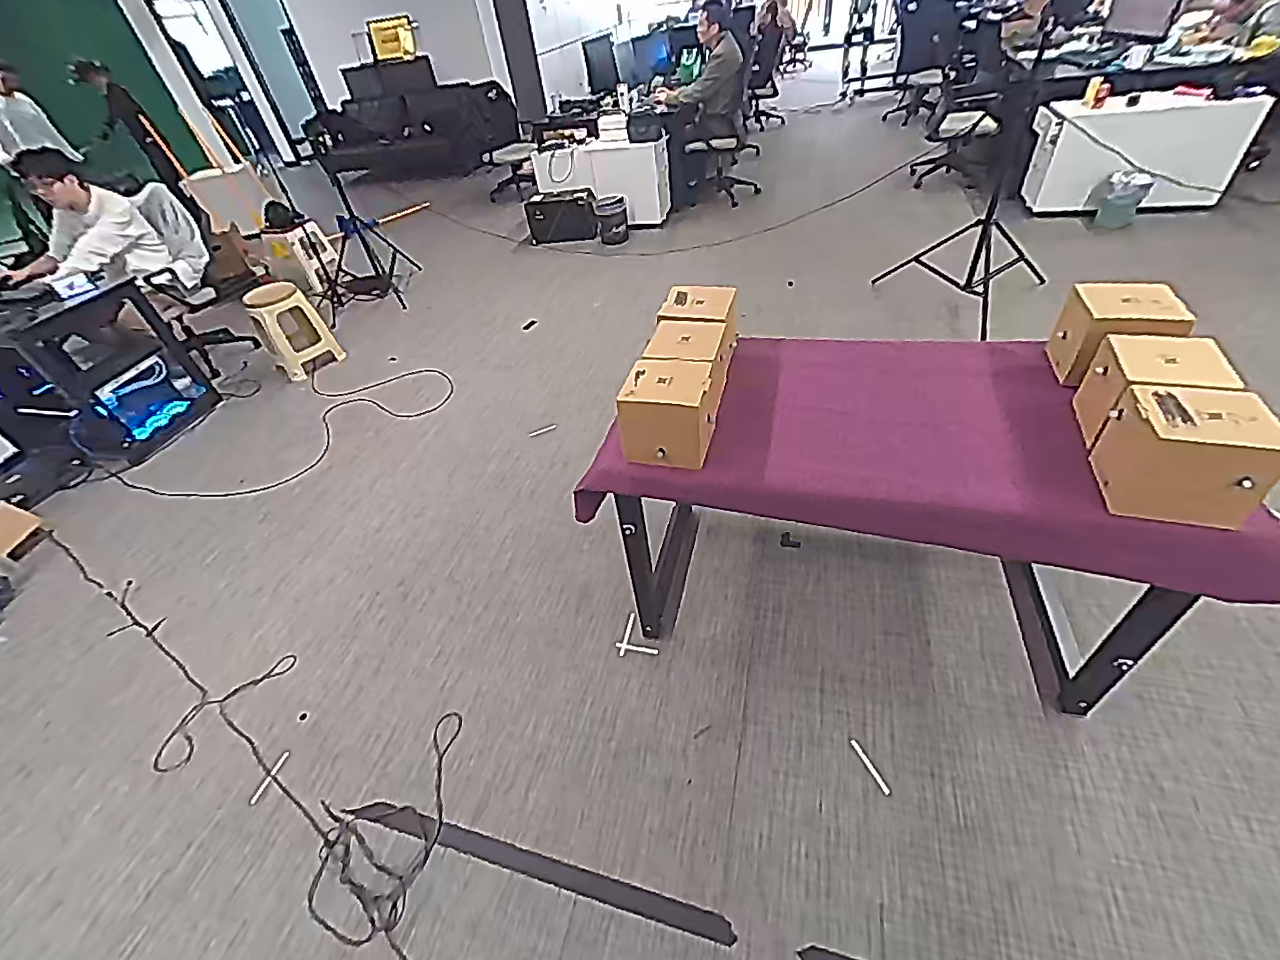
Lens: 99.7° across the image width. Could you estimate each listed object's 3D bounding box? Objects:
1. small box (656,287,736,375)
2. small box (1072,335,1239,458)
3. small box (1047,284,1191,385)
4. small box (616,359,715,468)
[{"bbox_3d":[0.153,-0.396,1.438,0.179,0.176,0.168,8,47,16],"label":"small box"},{"bbox_3d":[0.983,-0.162,1.052,0.168,0.176,0.179,9,45,20],"label":"small box"},{"bbox_3d":[1.041,-0.318,1.200,0.179,0.176,0.168,7,46,16],"label":"small box"},{"bbox_3d":[0.063,-0.145,1.186,0.179,0.176,0.168,8,44,15],"label":"small box"}]
